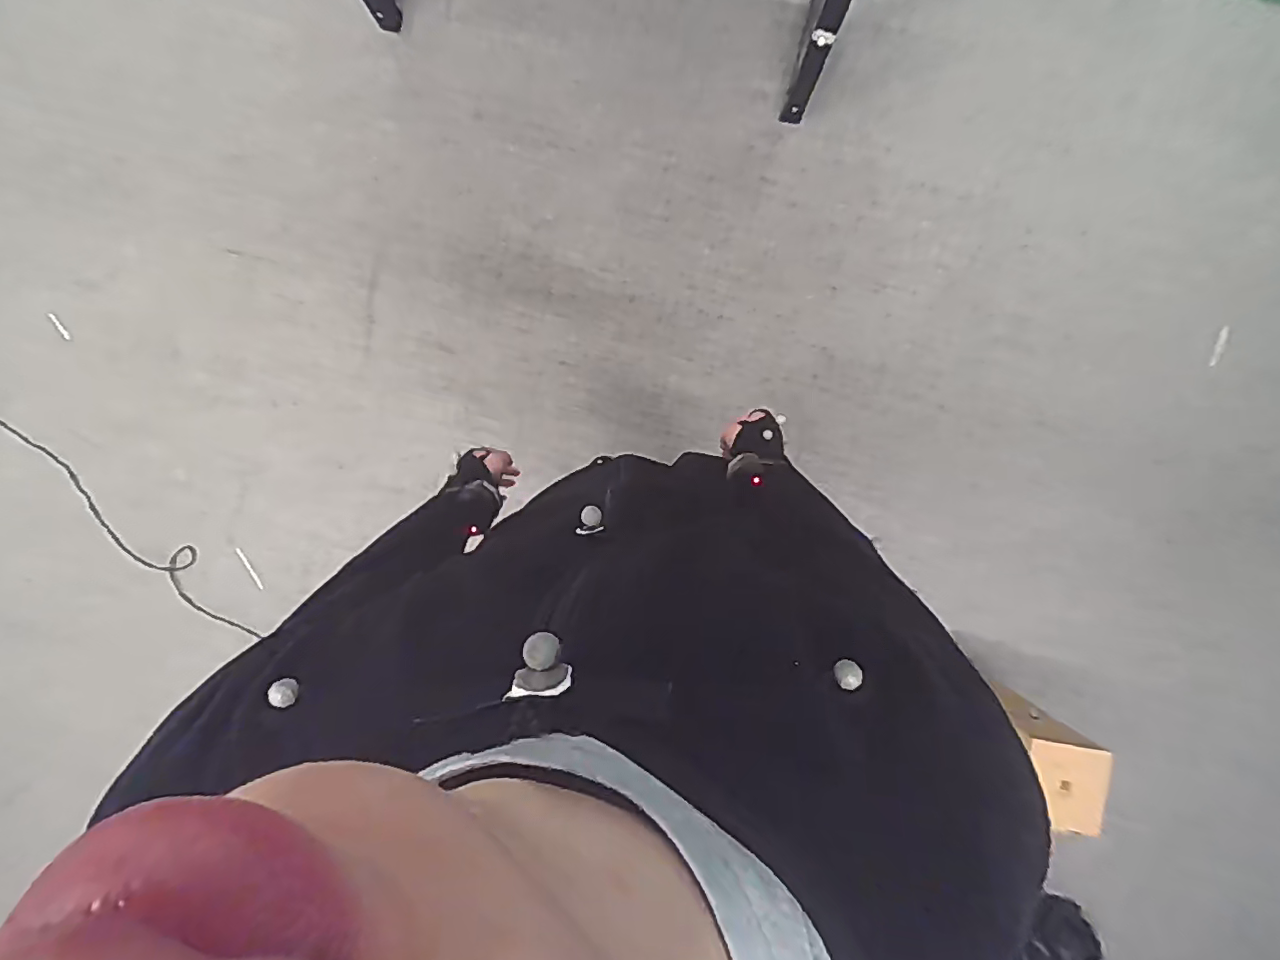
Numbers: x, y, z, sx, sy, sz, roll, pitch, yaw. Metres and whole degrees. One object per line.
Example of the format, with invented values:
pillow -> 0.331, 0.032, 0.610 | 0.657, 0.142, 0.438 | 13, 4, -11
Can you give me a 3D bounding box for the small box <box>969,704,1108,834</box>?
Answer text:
small box -> 0.849, 0.615, 1.169 | 0.168, 0.176, 0.179 | 9, 90, 0
